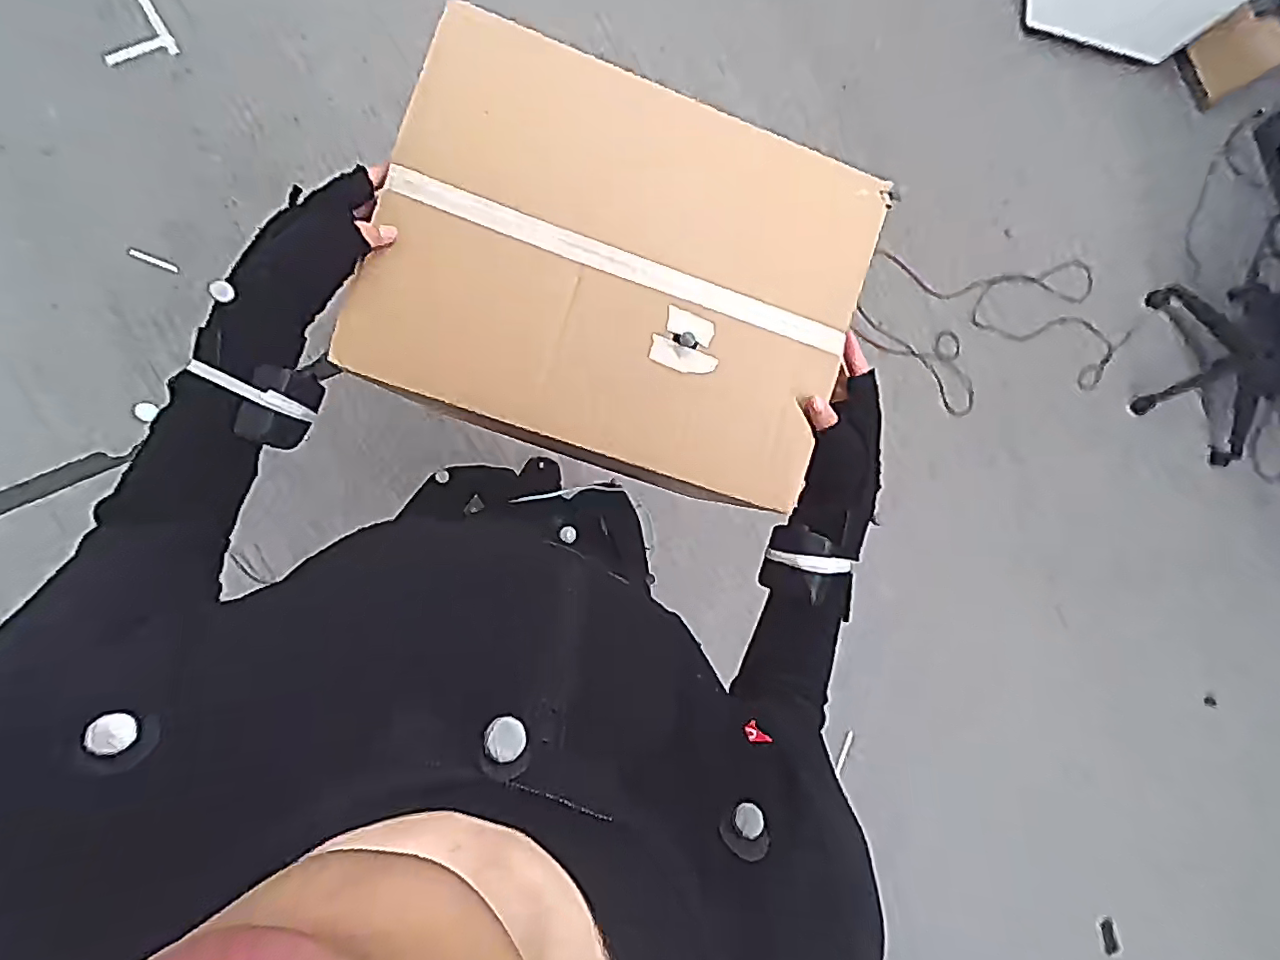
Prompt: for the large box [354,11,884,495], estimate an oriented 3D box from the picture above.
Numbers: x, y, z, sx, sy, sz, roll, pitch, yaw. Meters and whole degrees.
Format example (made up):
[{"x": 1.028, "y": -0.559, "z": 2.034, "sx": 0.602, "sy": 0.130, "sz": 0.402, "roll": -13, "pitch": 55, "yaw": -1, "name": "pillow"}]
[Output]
[{"x": -0.026, "y": -0.191, "z": 0.617, "sx": 0.408, "sy": 0.320, "sz": 0.320, "roll": 19, "pitch": 89, "yaw": -8, "name": "large box"}]
